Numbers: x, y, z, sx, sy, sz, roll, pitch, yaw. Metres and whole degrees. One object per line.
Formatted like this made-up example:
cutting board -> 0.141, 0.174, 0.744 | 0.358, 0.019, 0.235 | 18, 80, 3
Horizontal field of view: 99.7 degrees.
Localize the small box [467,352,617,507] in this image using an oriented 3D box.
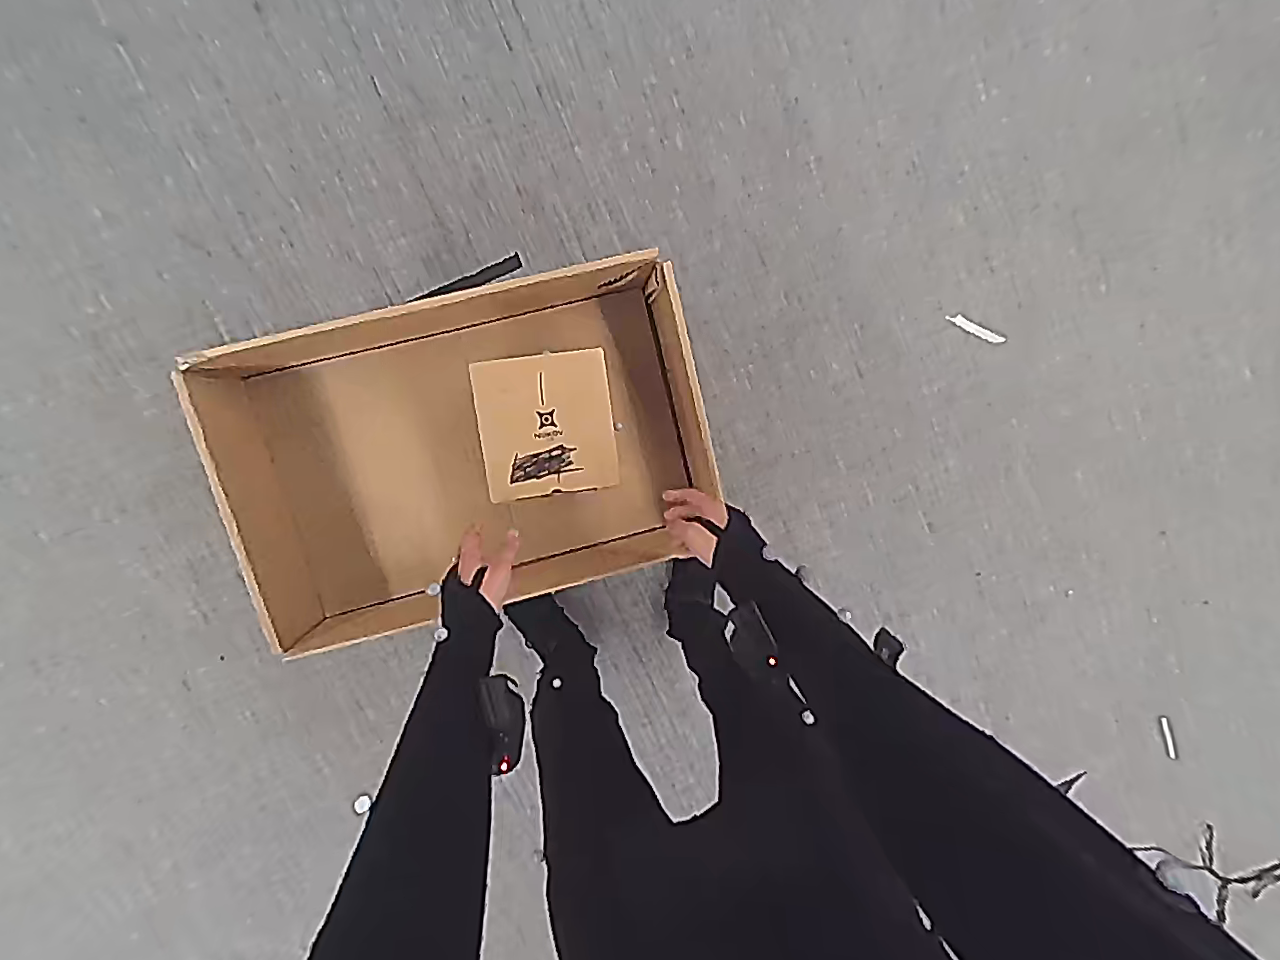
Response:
small box -> -0.124, -0.071, 0.739 | 0.168, 0.176, 0.179 | -8, 97, -5
